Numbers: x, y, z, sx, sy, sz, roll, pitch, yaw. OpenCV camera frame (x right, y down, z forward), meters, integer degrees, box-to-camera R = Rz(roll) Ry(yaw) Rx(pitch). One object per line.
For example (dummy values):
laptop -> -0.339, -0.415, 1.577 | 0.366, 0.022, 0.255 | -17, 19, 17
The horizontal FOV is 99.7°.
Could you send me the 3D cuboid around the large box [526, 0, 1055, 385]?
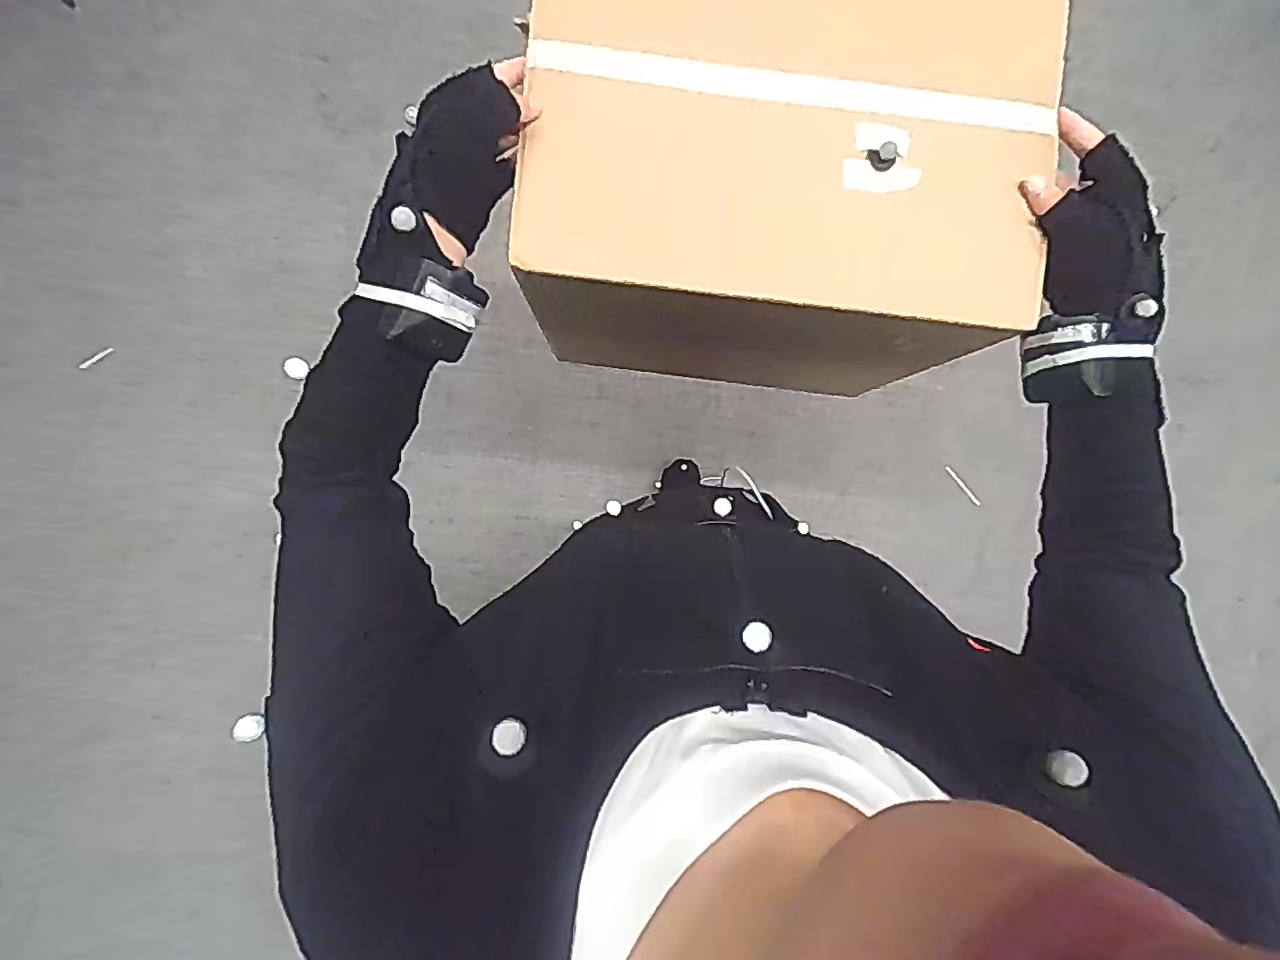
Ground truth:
large box -> 0.114, -0.295, 0.568 | 0.408, 0.320, 0.320 | 6, 90, -2
